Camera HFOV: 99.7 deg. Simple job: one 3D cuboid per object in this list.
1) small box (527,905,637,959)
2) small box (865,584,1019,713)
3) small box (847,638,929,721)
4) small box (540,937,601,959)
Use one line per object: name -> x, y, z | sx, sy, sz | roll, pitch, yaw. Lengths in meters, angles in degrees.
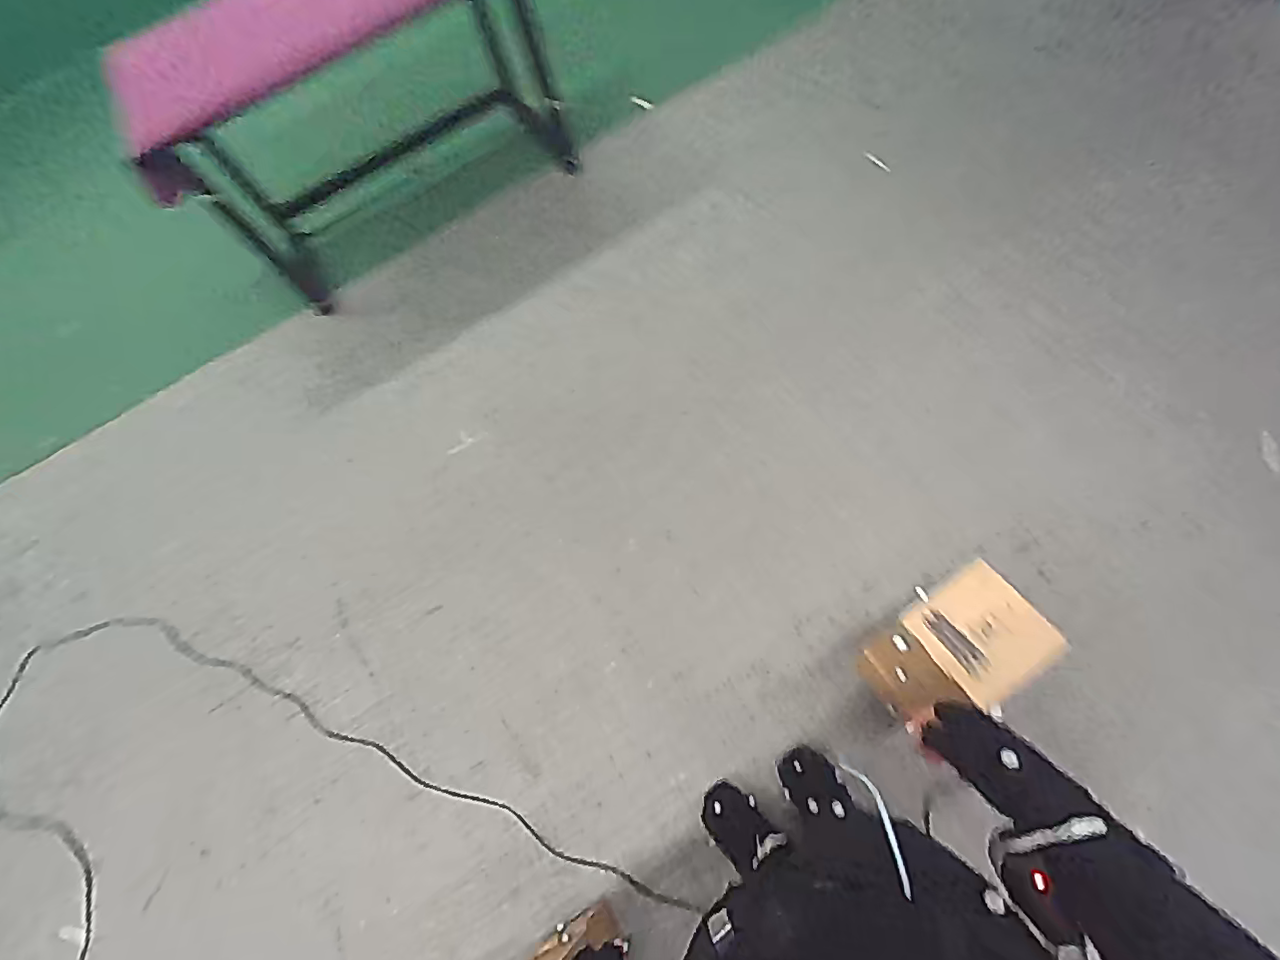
small box -> -0.109, 0.988, 1.071 | 0.168, 0.176, 0.179 | -36, 63, -2
small box -> 0.569, 0.333, 1.049 | 0.168, 0.176, 0.179 | -32, 64, -4
small box -> 0.589, 0.407, 1.194 | 0.168, 0.176, 0.179 | -32, 64, -5
small box -> -0.140, 0.927, 0.918 | 0.168, 0.176, 0.179 | -31, 65, -4
